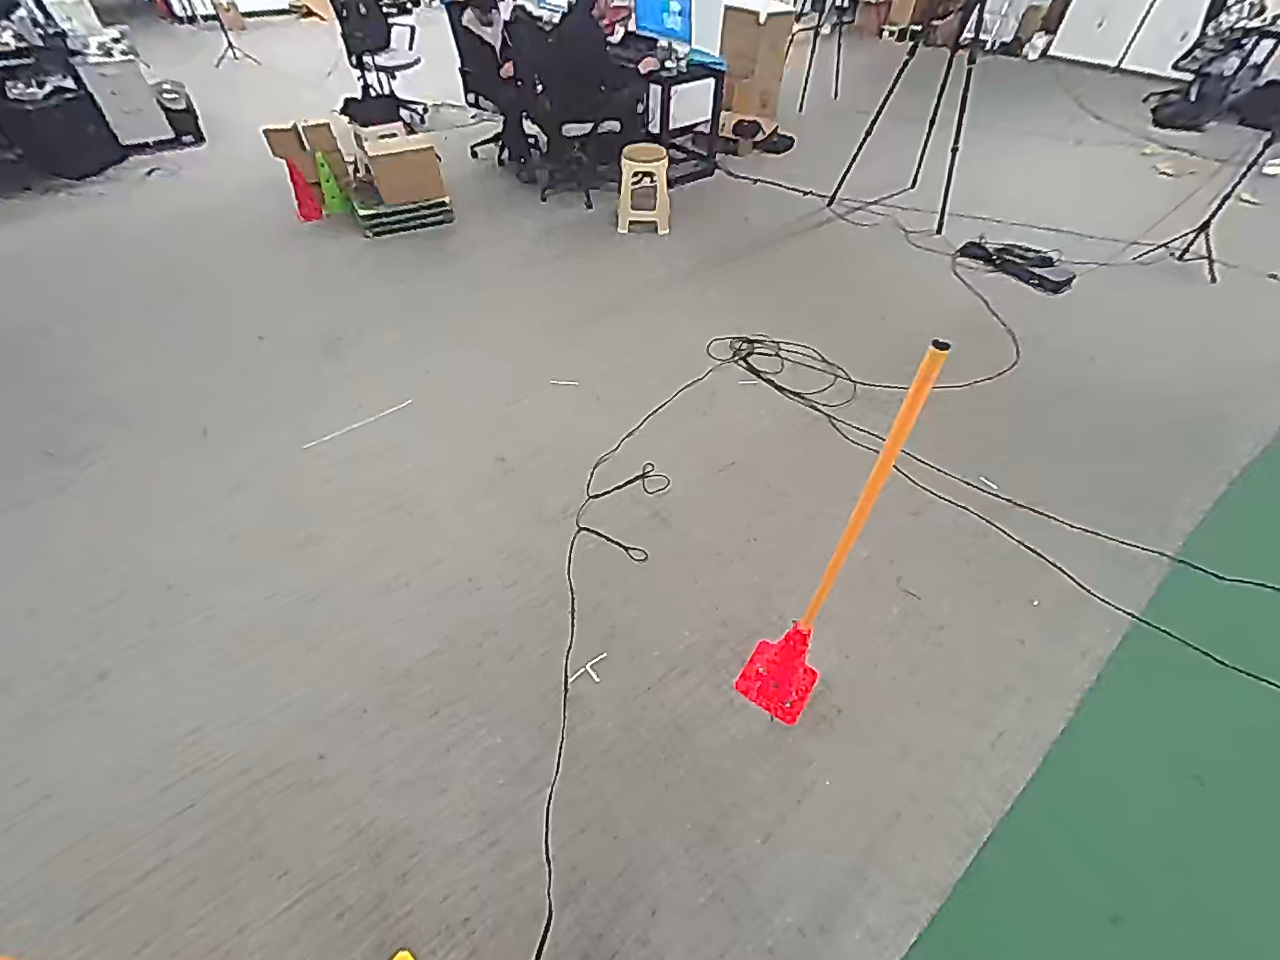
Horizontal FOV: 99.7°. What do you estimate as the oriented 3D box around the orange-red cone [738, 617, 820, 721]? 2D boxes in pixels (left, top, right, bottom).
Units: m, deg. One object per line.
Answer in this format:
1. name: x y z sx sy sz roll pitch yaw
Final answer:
1. orange-red cone: 0.421 0.478 1.492 0.198 0.360 0.199 30 53 23
